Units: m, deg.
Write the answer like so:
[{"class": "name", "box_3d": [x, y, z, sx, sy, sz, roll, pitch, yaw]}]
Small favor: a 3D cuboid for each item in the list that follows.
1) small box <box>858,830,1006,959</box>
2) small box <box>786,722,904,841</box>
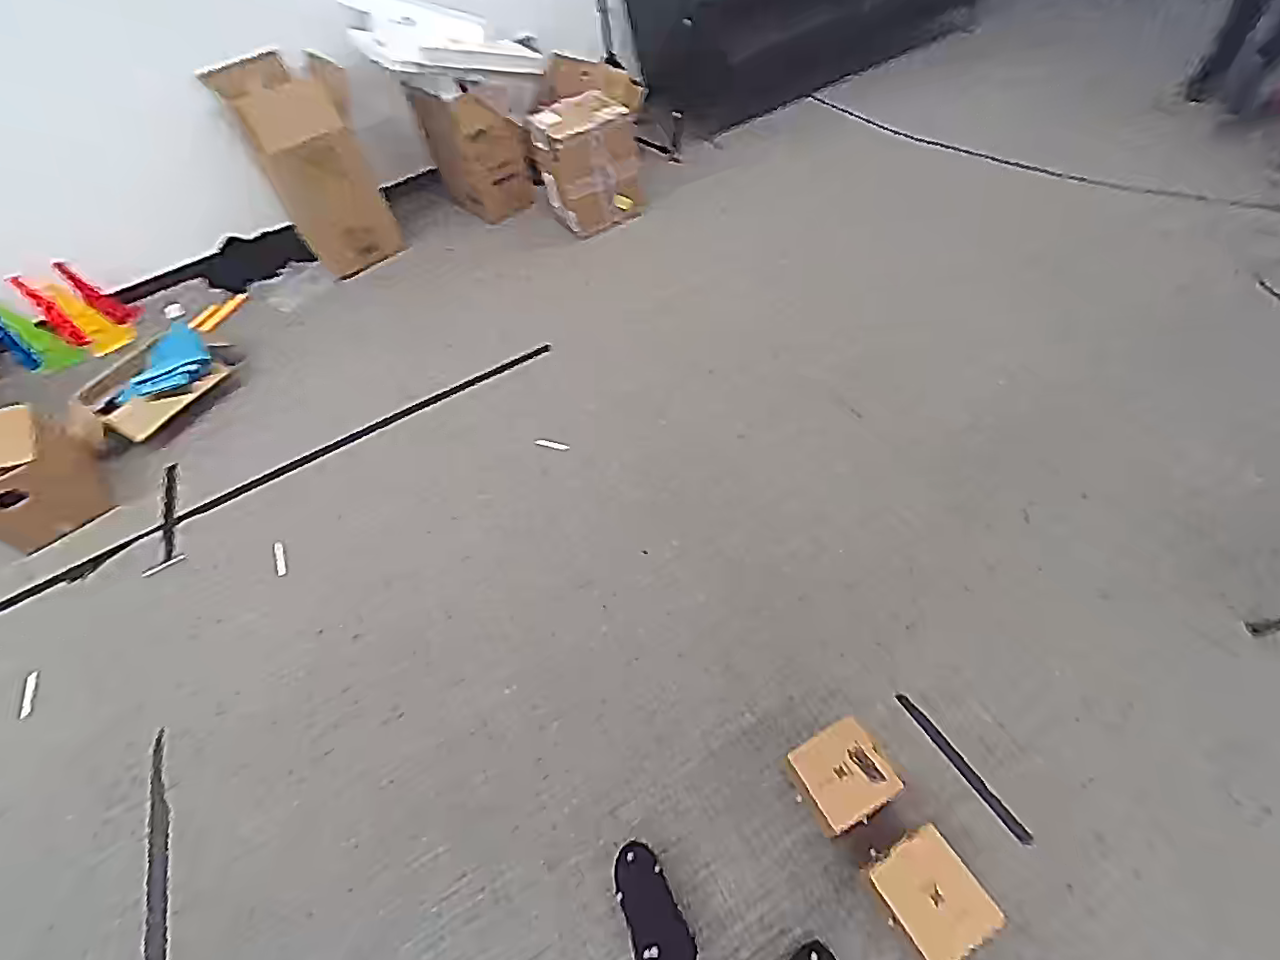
[{"class": "small box", "box_3d": [0.561, 0.832, 1.071, 0.168, 0.176, 0.179, -30, 56, -10]}, {"class": "small box", "box_3d": [0.444, 0.674, 1.205, 0.179, 0.176, 0.168, -27, 54, -9]}]
